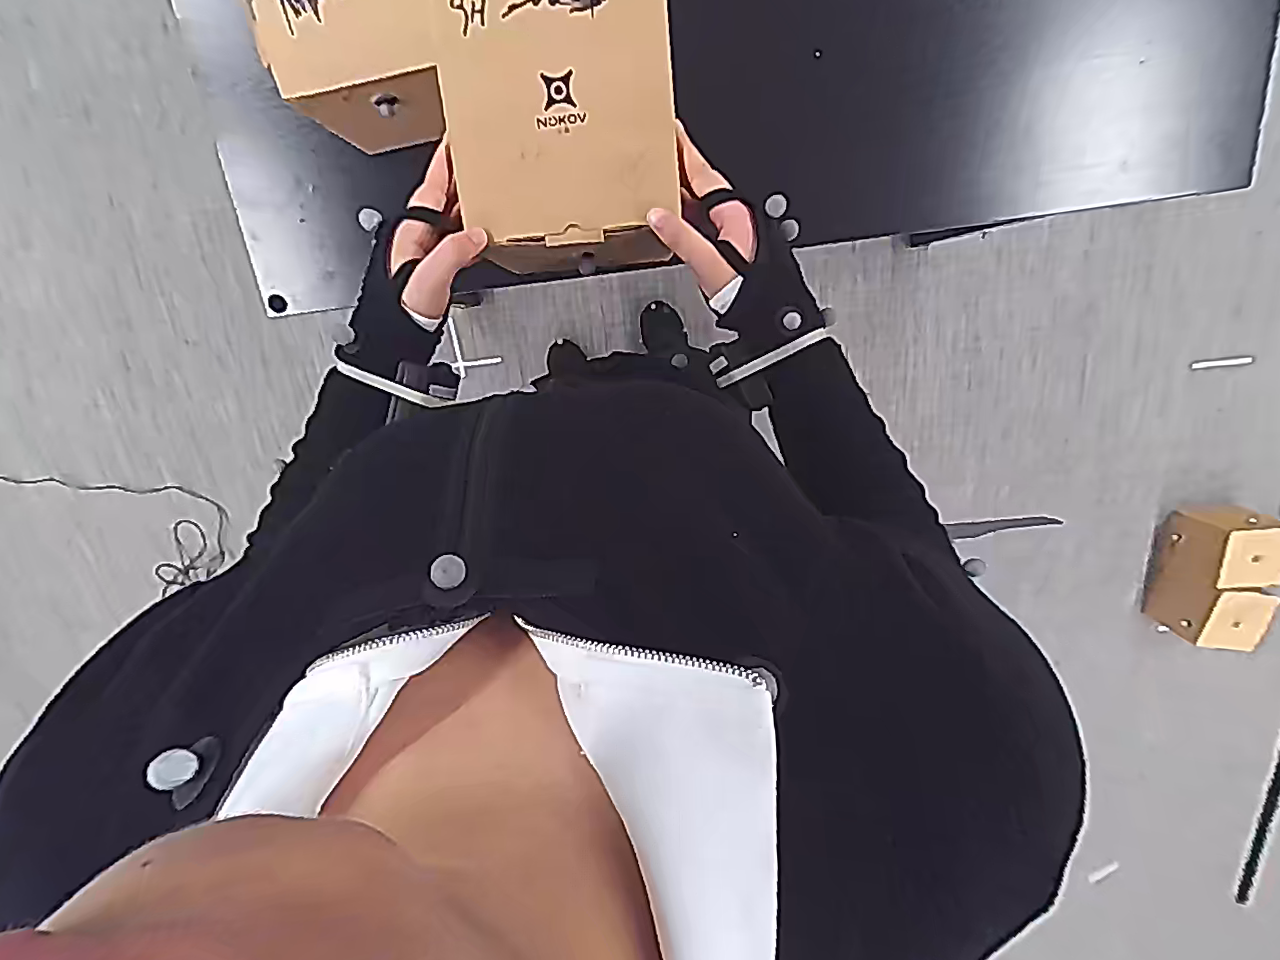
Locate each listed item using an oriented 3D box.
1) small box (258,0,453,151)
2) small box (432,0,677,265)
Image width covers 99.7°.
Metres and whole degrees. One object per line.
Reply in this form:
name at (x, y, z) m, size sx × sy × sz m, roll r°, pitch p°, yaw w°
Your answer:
small box at (-0.247, -0.455, 0.539) m, size 0.179 × 0.176 × 0.168 m, roll -11°, pitch 107°, yaw 2°
small box at (-0.056, -0.289, 0.471) m, size 0.168 × 0.176 × 0.179 m, roll -5°, pitch 105°, yaw 2°
